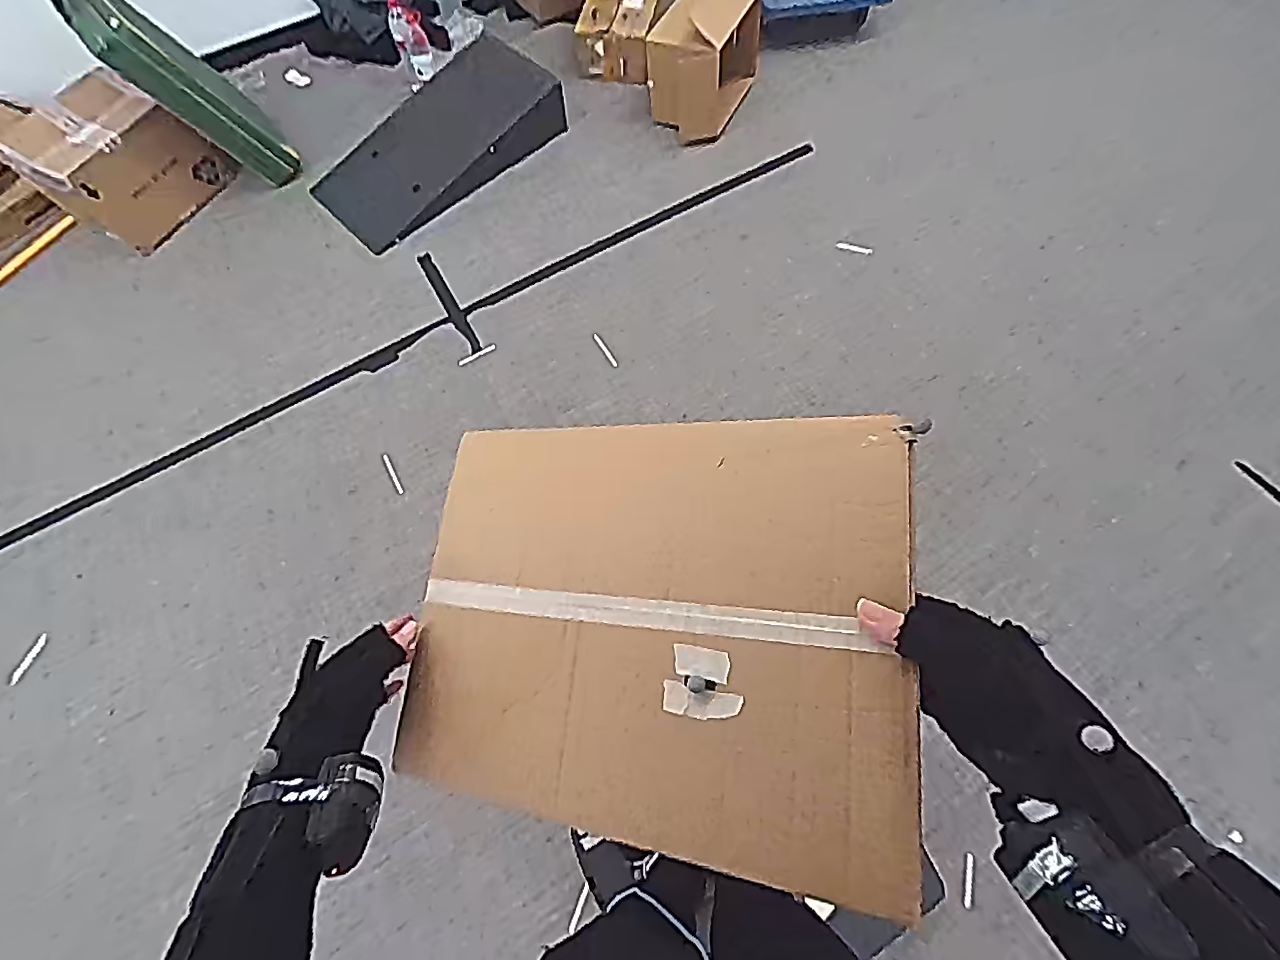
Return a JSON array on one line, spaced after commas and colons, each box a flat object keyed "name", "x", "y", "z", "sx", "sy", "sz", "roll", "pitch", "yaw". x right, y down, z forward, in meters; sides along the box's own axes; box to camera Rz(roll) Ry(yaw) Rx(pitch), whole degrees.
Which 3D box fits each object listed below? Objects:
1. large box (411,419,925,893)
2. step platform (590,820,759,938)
[{"name": "large box", "x": 0.051, "y": 0.149, "z": 0.565, "sx": 0.408, "sy": 0.320, "sz": 0.320, "roll": -1, "pitch": 74, "yaw": 23}, {"name": "step platform", "x": 0.224, "y": 0.713, "z": 1.275, "sx": 0.684, "sy": 0.204, "sz": 0.286, "roll": -30, "pitch": 70, "yaw": -11}]
